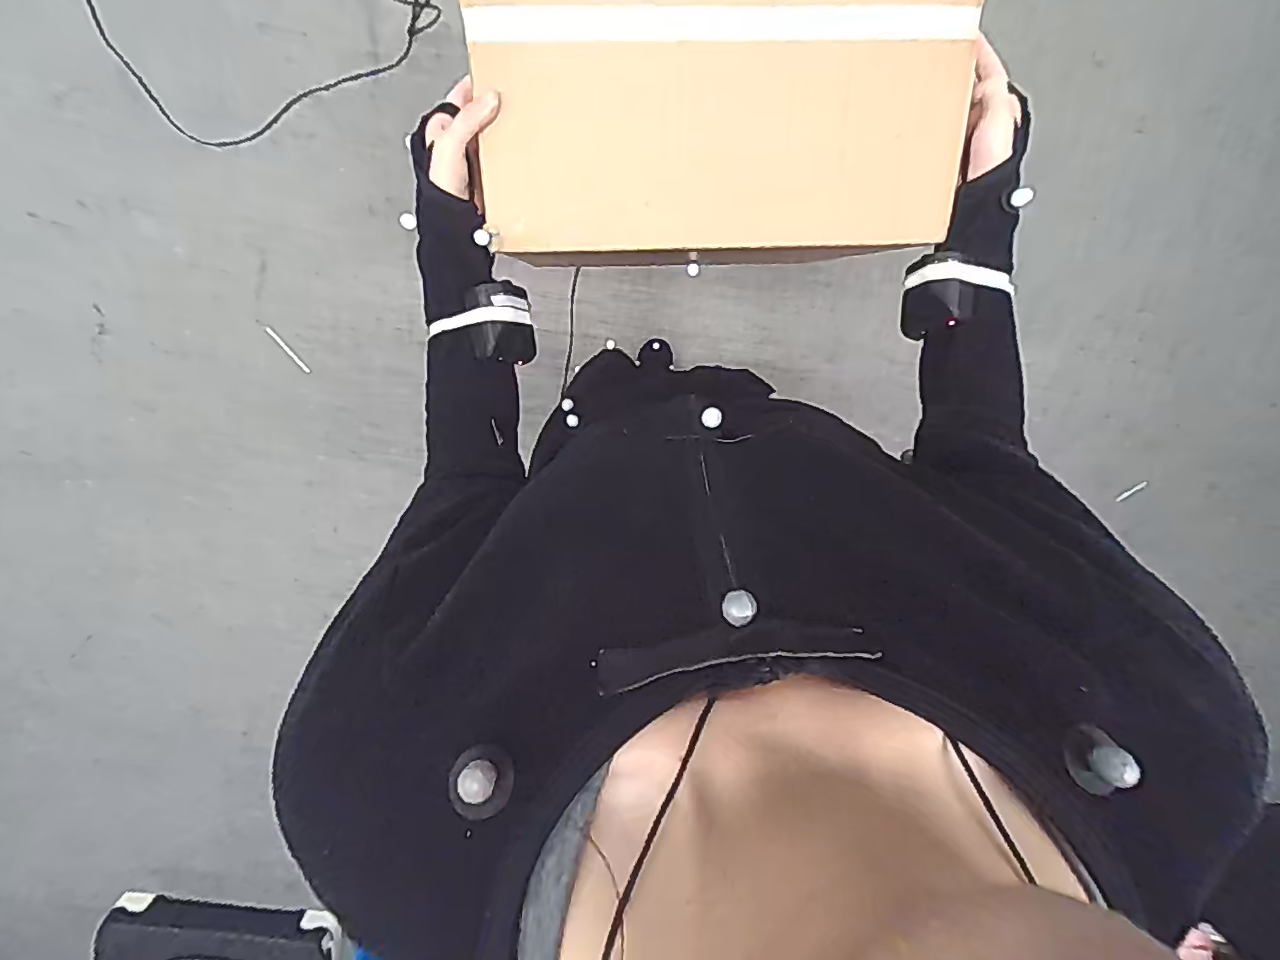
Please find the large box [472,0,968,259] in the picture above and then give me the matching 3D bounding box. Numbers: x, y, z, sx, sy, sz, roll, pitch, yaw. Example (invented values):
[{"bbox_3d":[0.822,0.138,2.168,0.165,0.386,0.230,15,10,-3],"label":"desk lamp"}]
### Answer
[{"bbox_3d":[0.060,-0.412,0.575,0.408,0.320,0.320,-3,109,-3],"label":"large box"}]
